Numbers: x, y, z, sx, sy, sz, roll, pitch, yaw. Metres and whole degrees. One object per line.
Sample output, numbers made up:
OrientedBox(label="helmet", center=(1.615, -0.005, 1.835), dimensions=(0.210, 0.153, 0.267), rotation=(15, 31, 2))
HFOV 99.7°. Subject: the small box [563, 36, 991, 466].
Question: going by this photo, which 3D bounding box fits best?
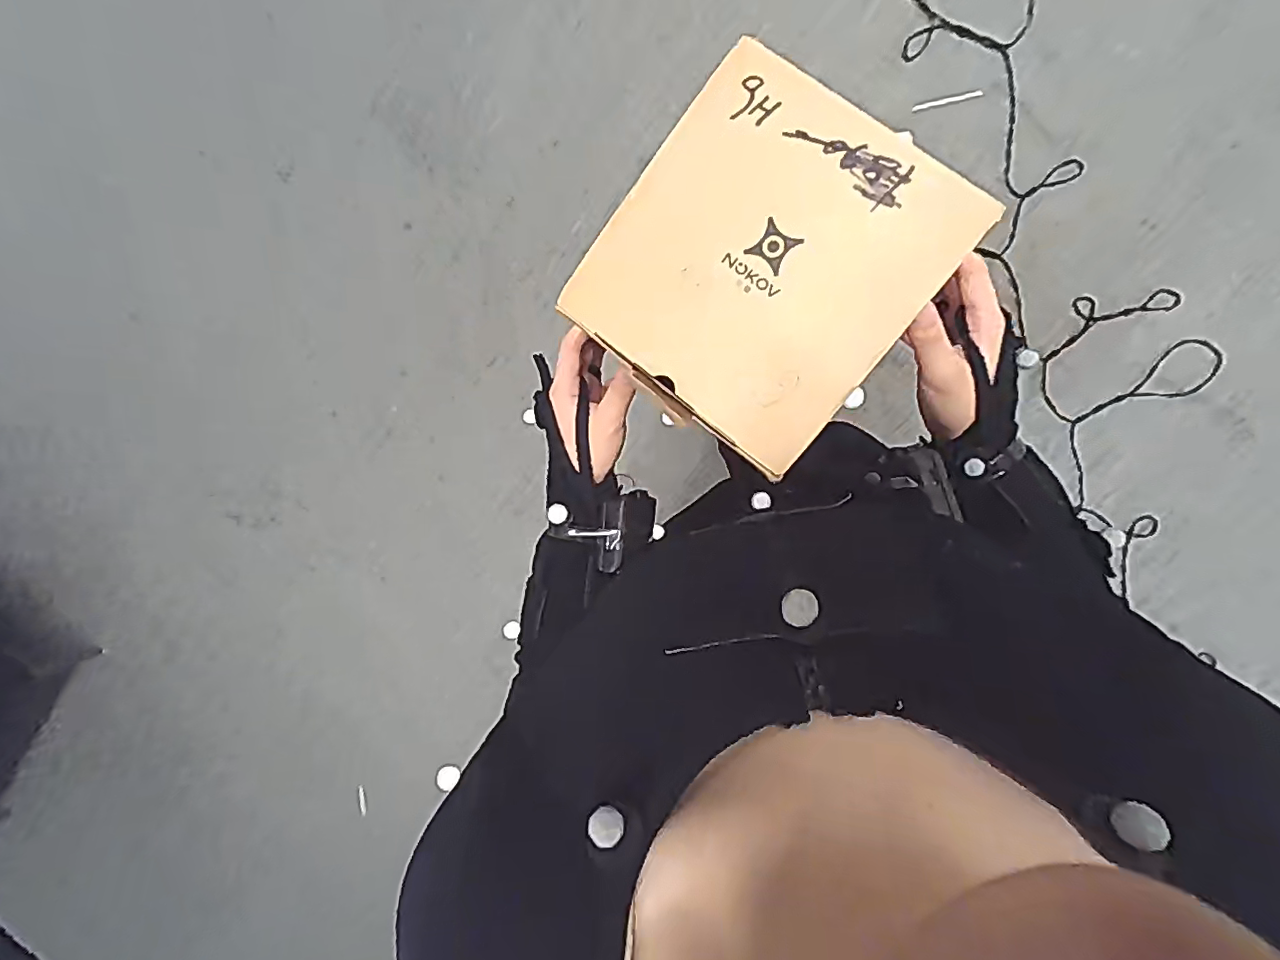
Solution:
OrientedBox(label="small box", center=(0.083, -0.128, 0.374), dimensions=(0.168, 0.176, 0.179), rotation=(40, 100, 7))
